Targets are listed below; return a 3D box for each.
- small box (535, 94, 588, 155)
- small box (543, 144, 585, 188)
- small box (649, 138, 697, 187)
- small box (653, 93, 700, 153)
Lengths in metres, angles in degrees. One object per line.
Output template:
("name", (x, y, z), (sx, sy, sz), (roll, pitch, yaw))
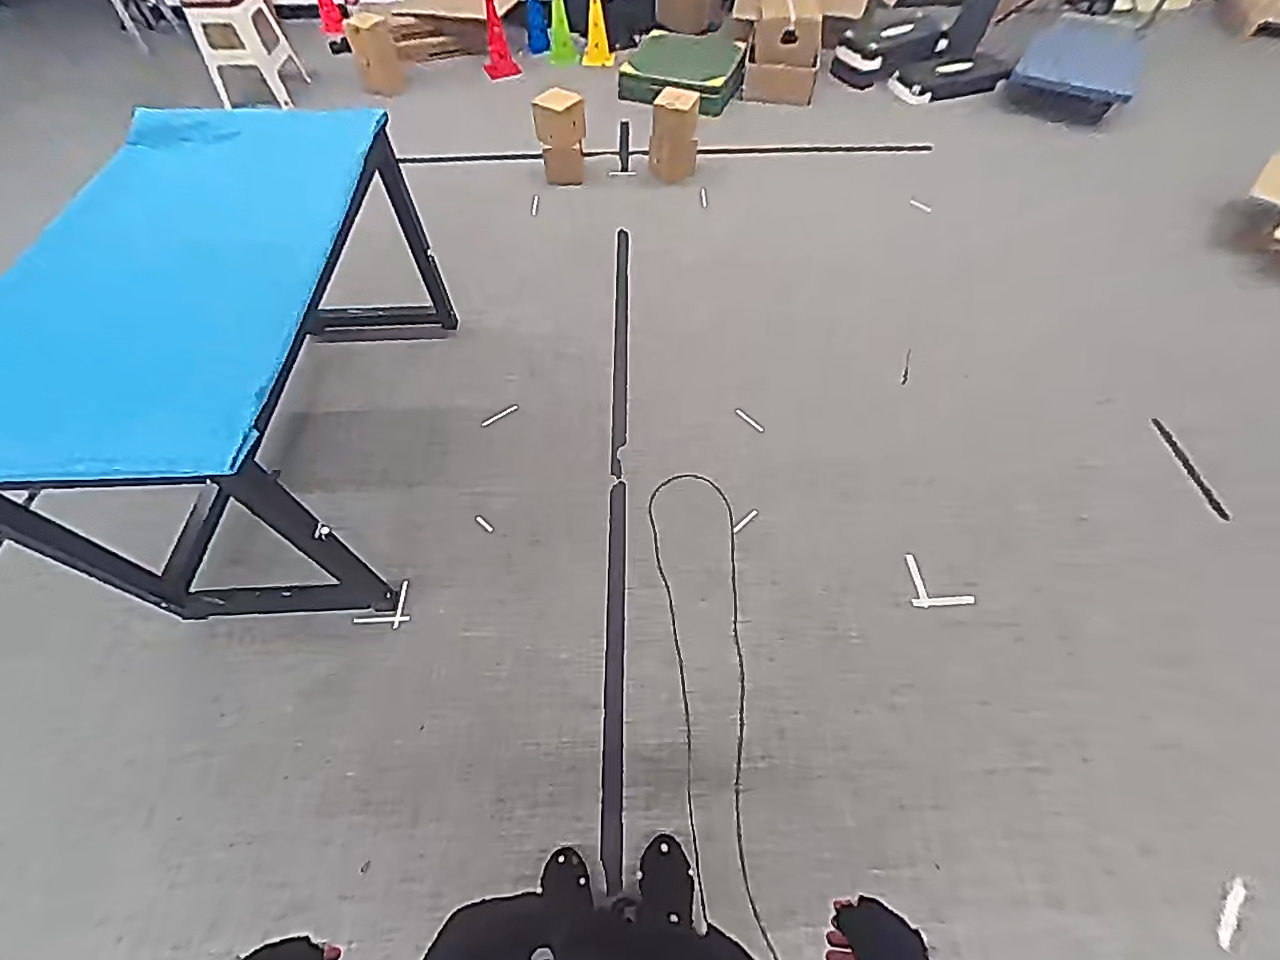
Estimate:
("small box", (-0.365, -1.647, 2.497), (0.179, 0.176, 0.168), (31, 62, 19))
("small box", (-0.365, -1.546, 2.631), (0.179, 0.176, 0.168), (0, 57, 1))
("small box", (0.160, -1.573, 2.650), (0.179, 0.176, 0.168), (-27, 63, -16))
("small box", (0.166, -1.652, 2.506), (0.168, 0.176, 0.179), (20, 59, 10))
